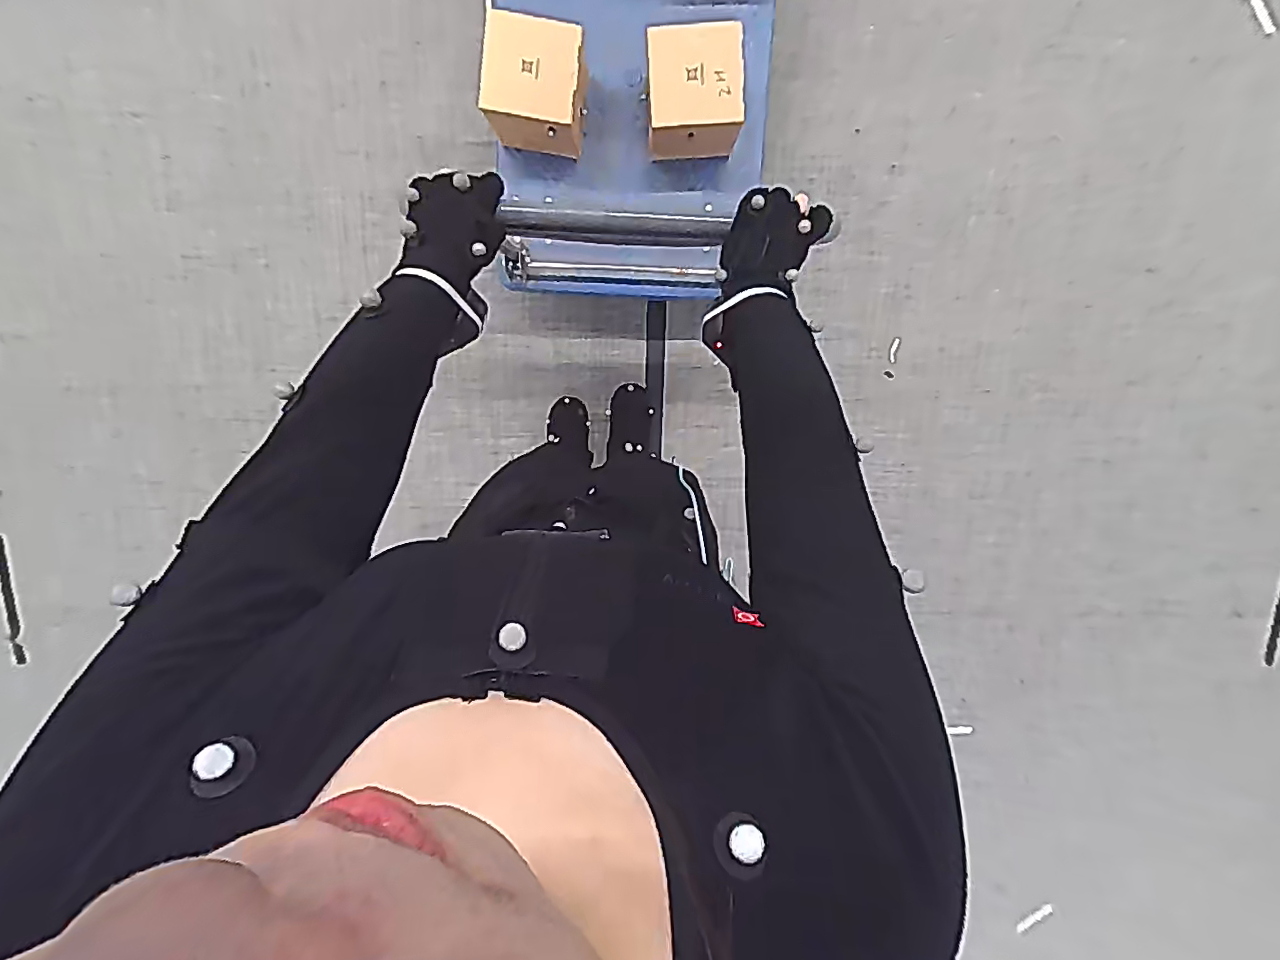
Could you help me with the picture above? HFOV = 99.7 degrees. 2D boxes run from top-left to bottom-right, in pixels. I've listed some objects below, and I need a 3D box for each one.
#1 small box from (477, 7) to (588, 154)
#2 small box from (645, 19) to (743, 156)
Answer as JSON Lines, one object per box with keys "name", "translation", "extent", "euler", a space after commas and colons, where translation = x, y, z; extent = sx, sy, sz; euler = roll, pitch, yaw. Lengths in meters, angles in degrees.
{"name": "small box", "translation": [-0.203, -0.765, 1.055], "extent": [0.179, 0.176, 0.168], "euler": [8, 102, -3]}
{"name": "small box", "translation": [0.101, -0.754, 1.058], "extent": [0.179, 0.176, 0.168], "euler": [-3, 102, 1]}
